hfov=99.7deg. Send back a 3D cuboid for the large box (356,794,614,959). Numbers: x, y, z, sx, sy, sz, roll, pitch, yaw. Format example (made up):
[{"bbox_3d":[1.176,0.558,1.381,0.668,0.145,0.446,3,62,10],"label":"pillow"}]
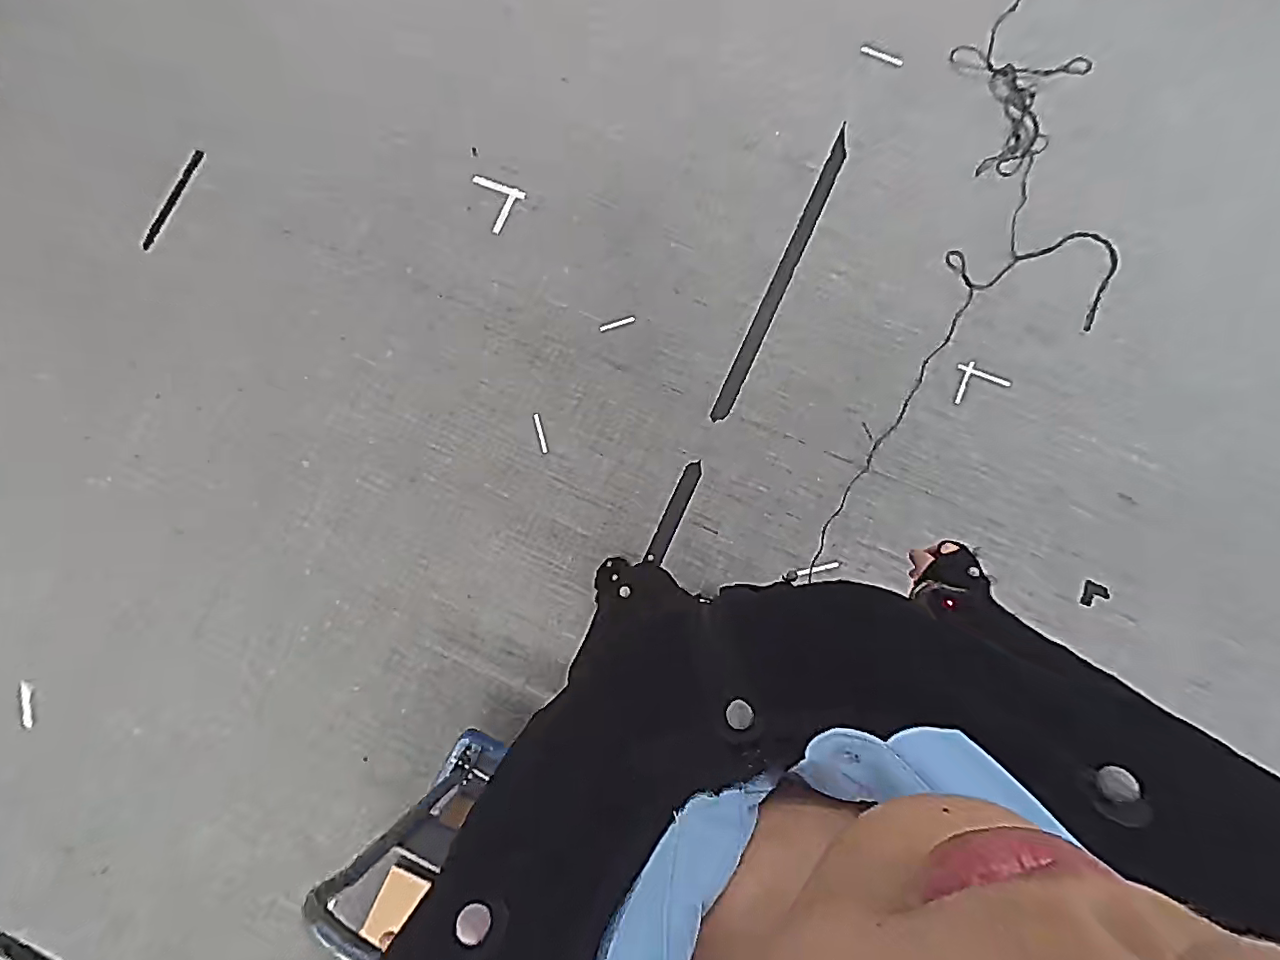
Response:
[{"bbox_3d":[-0.300,0.916,1.080,0.408,0.320,0.320,22,82,5],"label":"large box"}]
